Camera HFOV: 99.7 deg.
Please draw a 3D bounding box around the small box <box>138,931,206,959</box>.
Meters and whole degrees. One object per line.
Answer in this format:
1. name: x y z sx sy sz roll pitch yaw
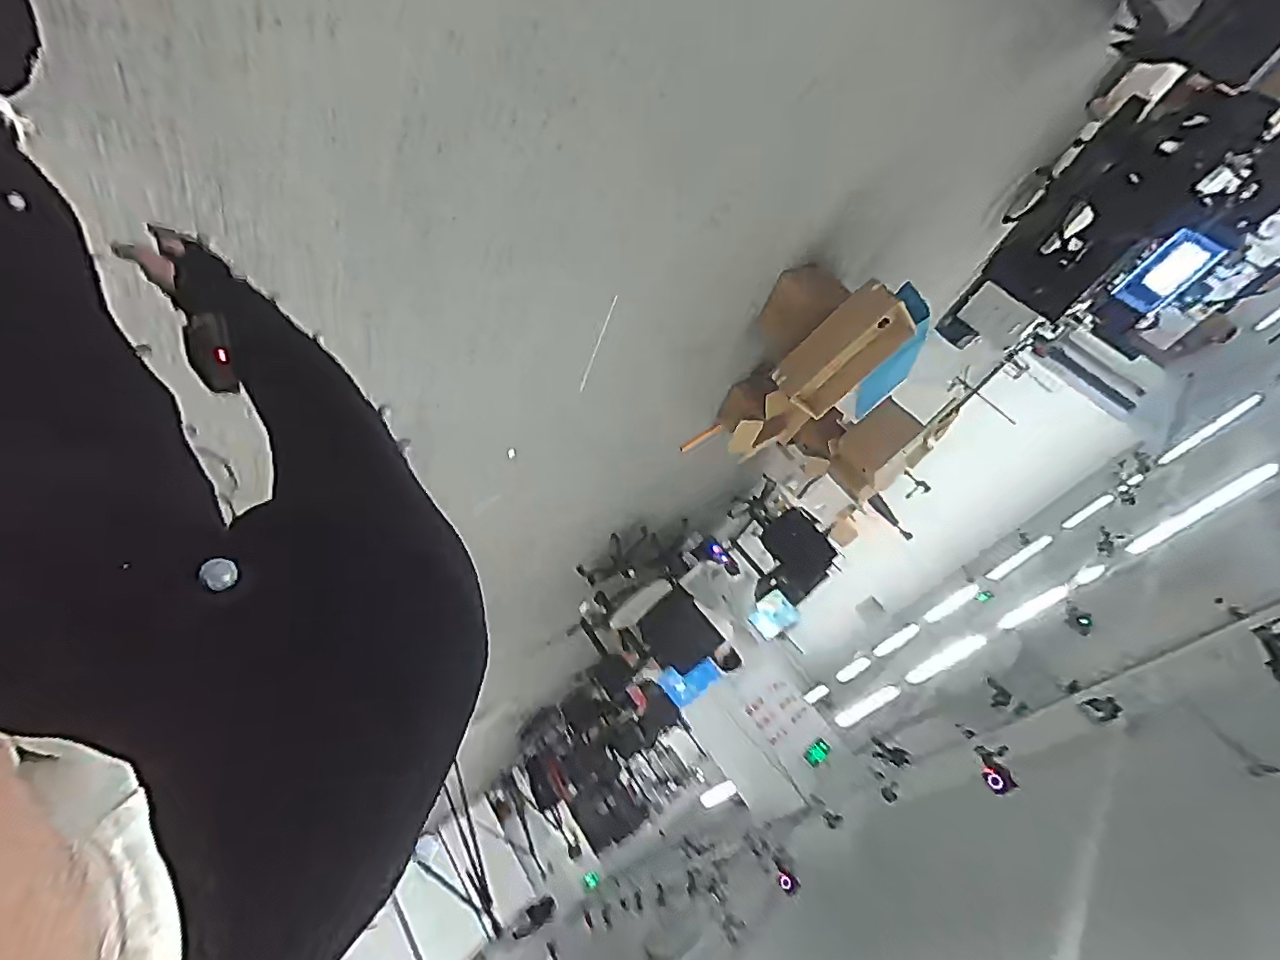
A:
1. small box: -1.202 1.283 1.356 0.168 0.176 0.179 -21 151 -38
